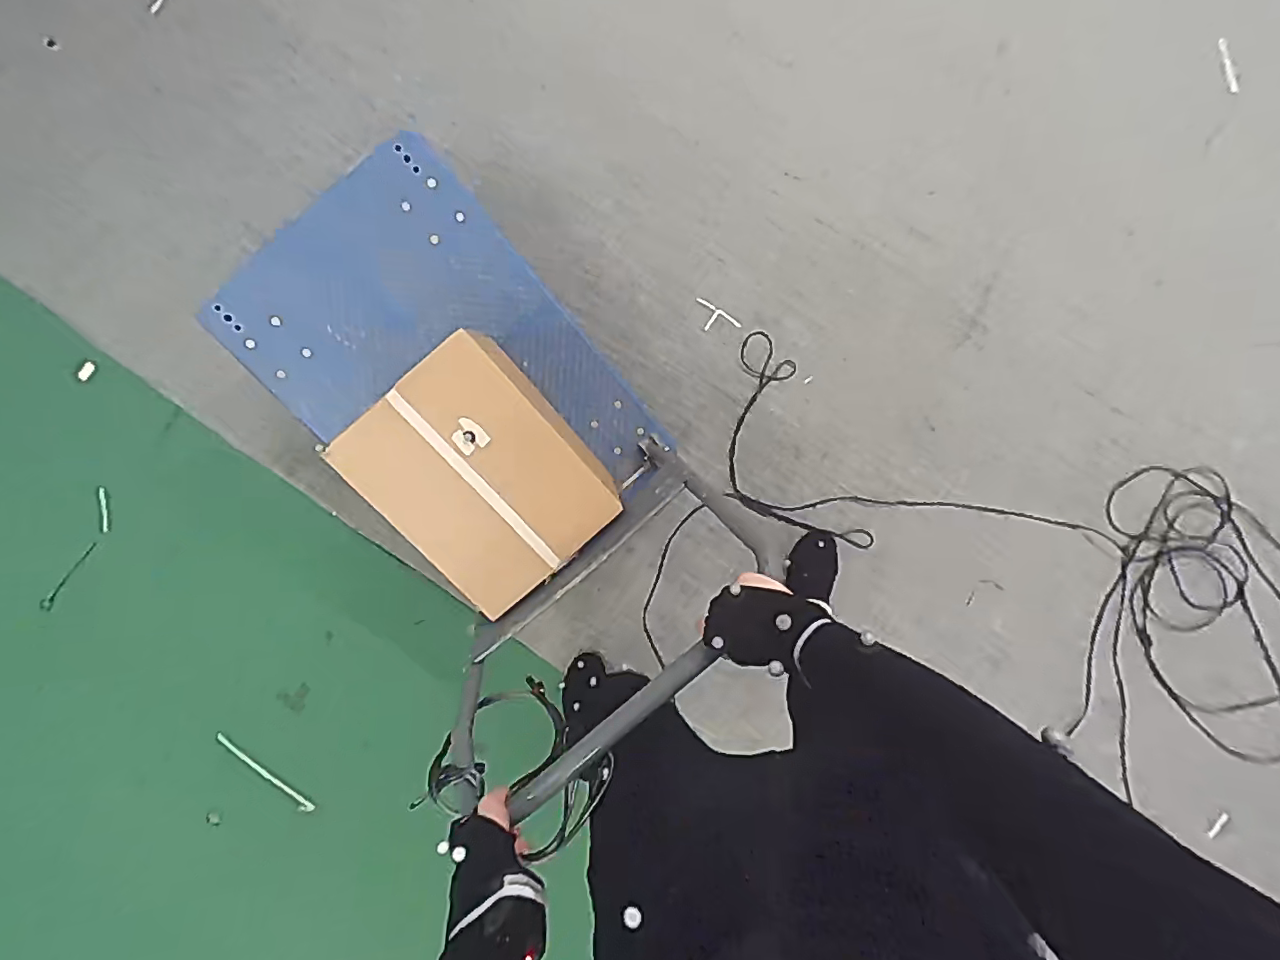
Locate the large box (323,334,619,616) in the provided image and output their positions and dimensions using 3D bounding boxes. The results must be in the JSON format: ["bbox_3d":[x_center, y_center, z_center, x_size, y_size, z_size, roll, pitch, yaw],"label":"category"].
[{"bbox_3d":[-0.291,-0.023,1.059,0.320,0.320,0.408,-41,103,2],"label":"large box"}]
